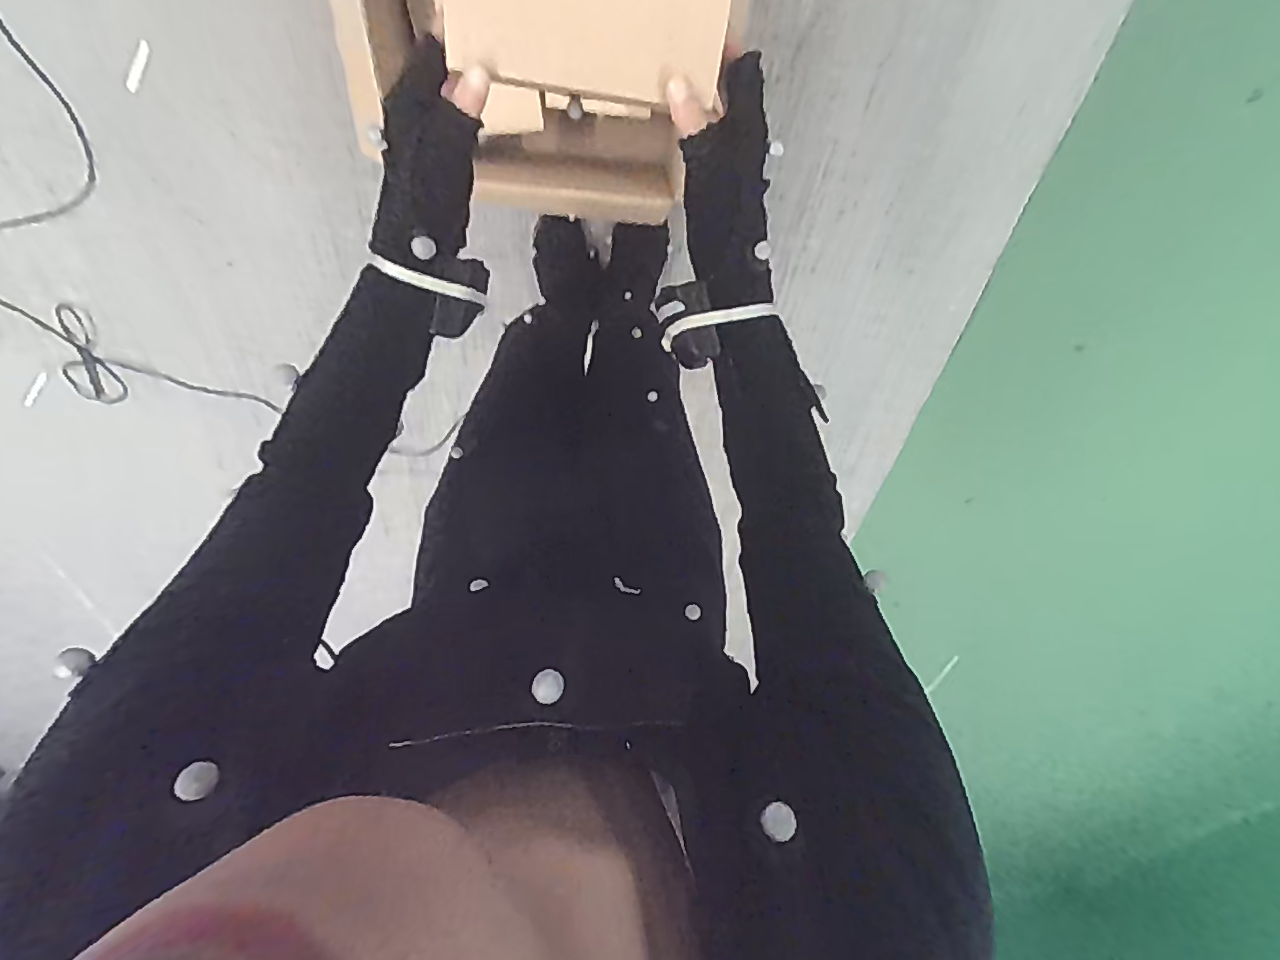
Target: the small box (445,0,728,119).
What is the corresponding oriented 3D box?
[{"bbox_3d":[-0.031,-0.355,0.357,0.168,0.176,0.179,2,124,-9],"label":"small box"}]
